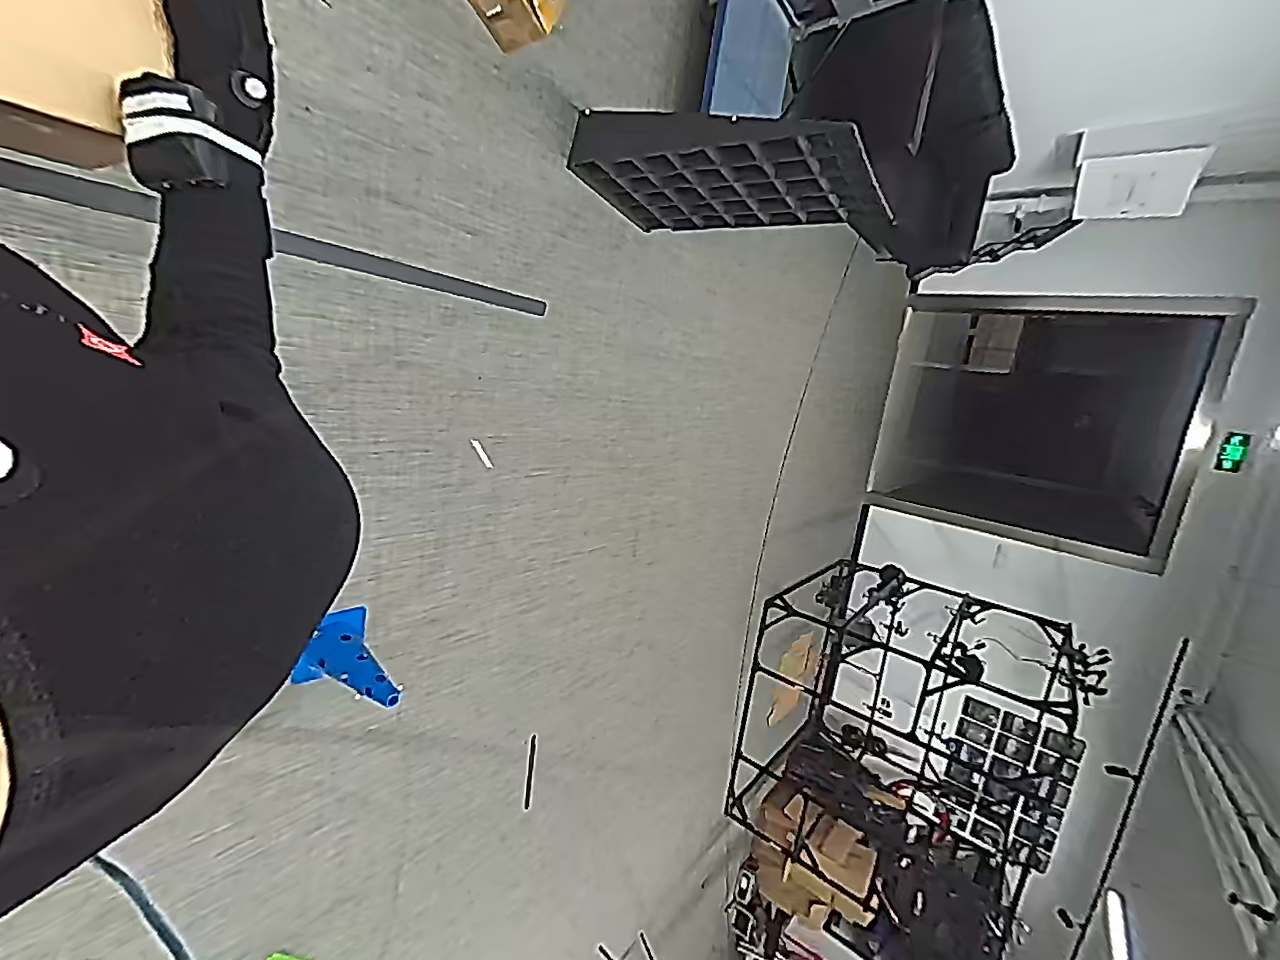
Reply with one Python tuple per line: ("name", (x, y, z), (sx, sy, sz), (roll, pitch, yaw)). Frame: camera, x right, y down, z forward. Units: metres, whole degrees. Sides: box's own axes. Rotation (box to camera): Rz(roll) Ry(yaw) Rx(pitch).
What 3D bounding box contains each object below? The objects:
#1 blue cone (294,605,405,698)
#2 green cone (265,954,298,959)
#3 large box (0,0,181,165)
("blue cone", (-0.775, 0.506, 1.488), (0.192, 0.380, 0.193), (-1, 104, -55))
("green cone", (-1.016, 1.610, 1.556), (0.202, 0.368, 0.200), (-50, 139, -33))
("large box", (-0.565, -0.418, 0.301), (0.408, 0.320, 0.320), (-9, 114, -54))
